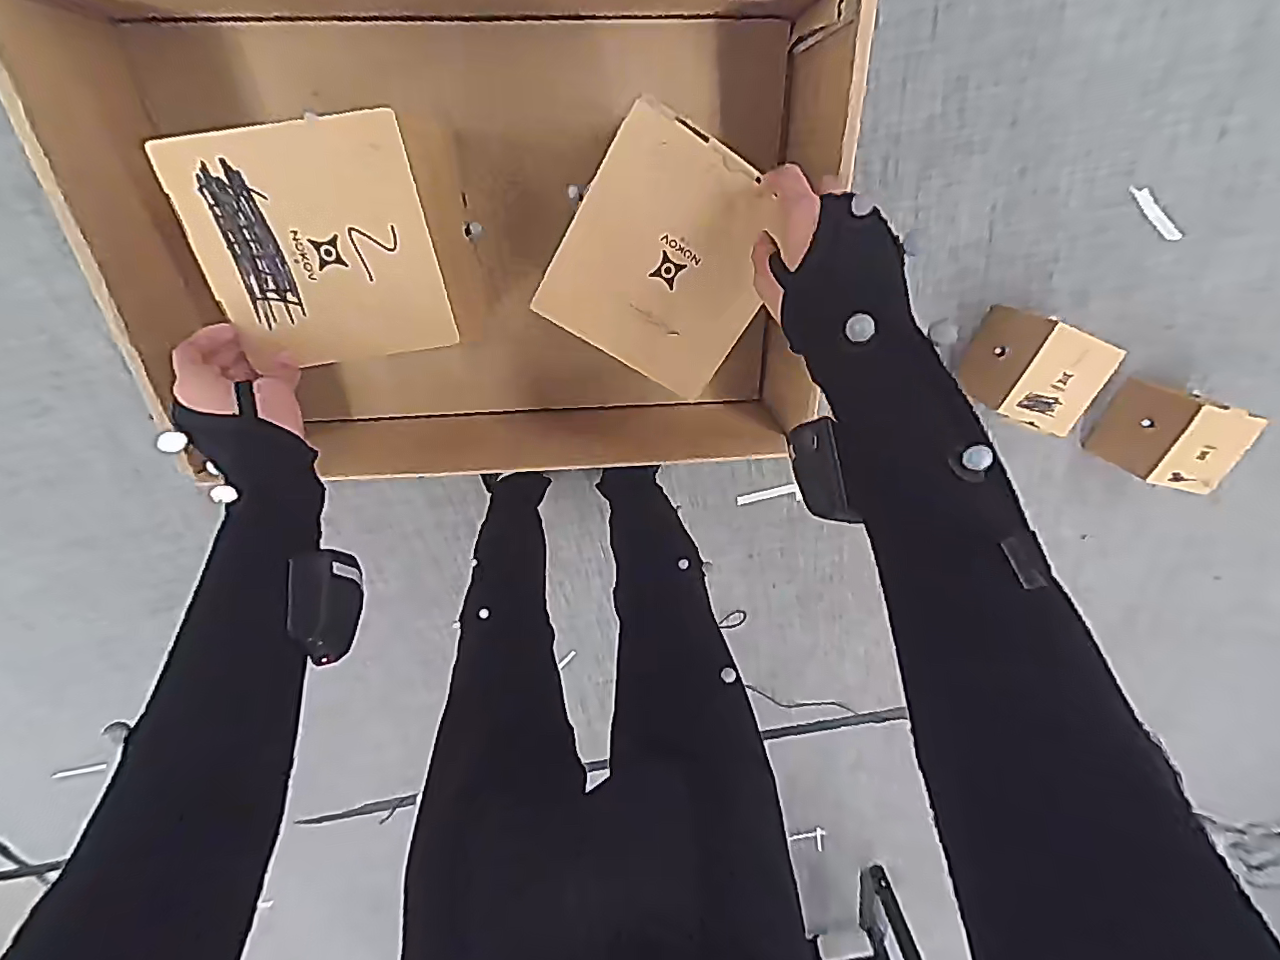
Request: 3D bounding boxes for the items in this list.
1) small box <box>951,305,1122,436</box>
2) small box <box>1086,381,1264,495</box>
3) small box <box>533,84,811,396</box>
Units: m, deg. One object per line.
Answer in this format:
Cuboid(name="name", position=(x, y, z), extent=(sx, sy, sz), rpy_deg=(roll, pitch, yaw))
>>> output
Cuboid(name="small box", position=(0.746, -0.215, 1.045), extent=(0.168, 0.176, 0.179), rpy_deg=(17, 115, -14))
Cuboid(name="small box", position=(1.110, -0.095, 1.142), extent=(0.168, 0.176, 0.179), rpy_deg=(11, 116, -10))
Cuboid(name="small box", position=(0.018, -0.213, 0.505), extent=(0.168, 0.176, 0.179), rpy_deg=(30, 110, -18))
